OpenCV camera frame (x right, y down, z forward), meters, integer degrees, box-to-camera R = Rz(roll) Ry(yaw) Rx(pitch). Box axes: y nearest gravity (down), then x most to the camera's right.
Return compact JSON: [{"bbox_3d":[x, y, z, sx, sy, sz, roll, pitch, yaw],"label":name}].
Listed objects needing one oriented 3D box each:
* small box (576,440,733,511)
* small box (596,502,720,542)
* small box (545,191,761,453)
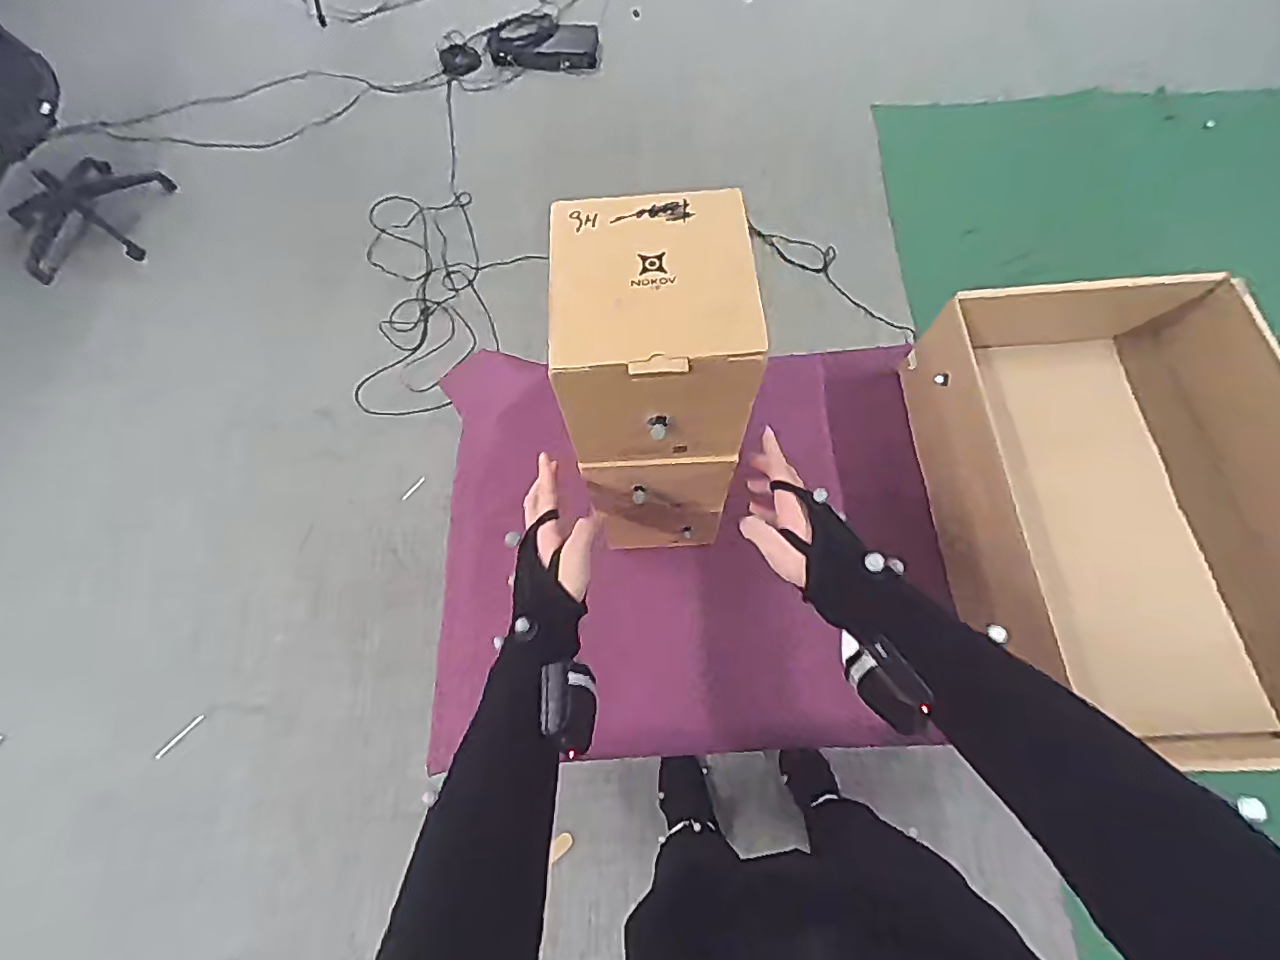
[{"bbox_3d":[0.018,-0.066,0.655,0.168,0.176,0.179,-3,68,2],"label":"small box"},{"bbox_3d":[0.027,-0.009,0.806,0.168,0.176,0.179,-2,68,2],"label":"small box"},{"bbox_3d":[0.011,-0.132,0.505,0.168,0.176,0.179,-3,68,1],"label":"small box"}]
